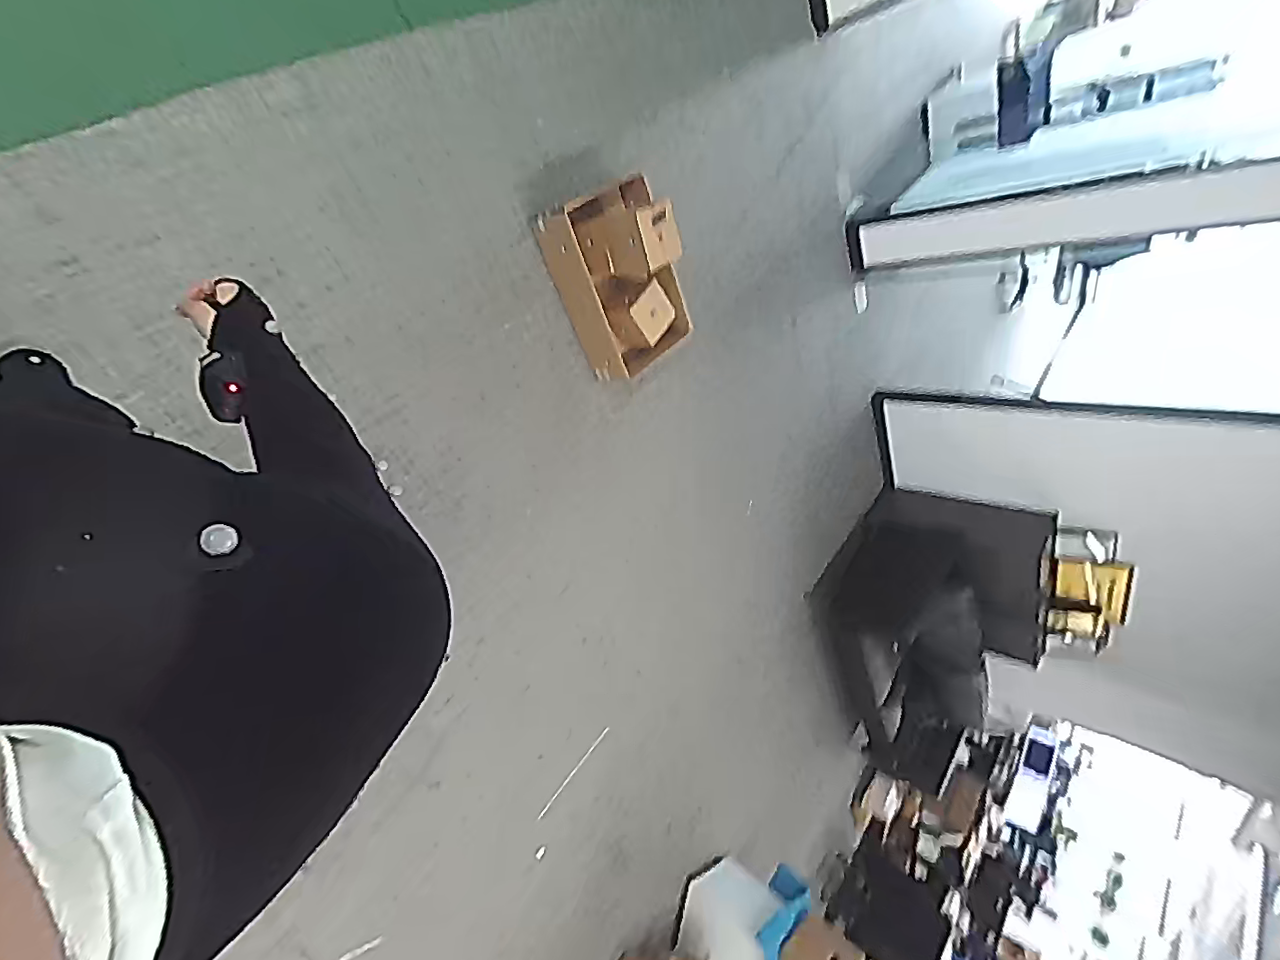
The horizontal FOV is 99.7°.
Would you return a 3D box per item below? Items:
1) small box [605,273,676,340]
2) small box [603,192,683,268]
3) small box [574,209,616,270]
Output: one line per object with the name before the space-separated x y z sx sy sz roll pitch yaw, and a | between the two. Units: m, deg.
small box | -0.004 -0.636 2.000 0.179 0.176 0.168 -56 132 -18
small box | 0.008 -0.799 1.740 0.168 0.176 0.179 -40 127 -31
small box | -0.106 -0.829 1.853 0.179 0.176 0.168 -34 123 -36
